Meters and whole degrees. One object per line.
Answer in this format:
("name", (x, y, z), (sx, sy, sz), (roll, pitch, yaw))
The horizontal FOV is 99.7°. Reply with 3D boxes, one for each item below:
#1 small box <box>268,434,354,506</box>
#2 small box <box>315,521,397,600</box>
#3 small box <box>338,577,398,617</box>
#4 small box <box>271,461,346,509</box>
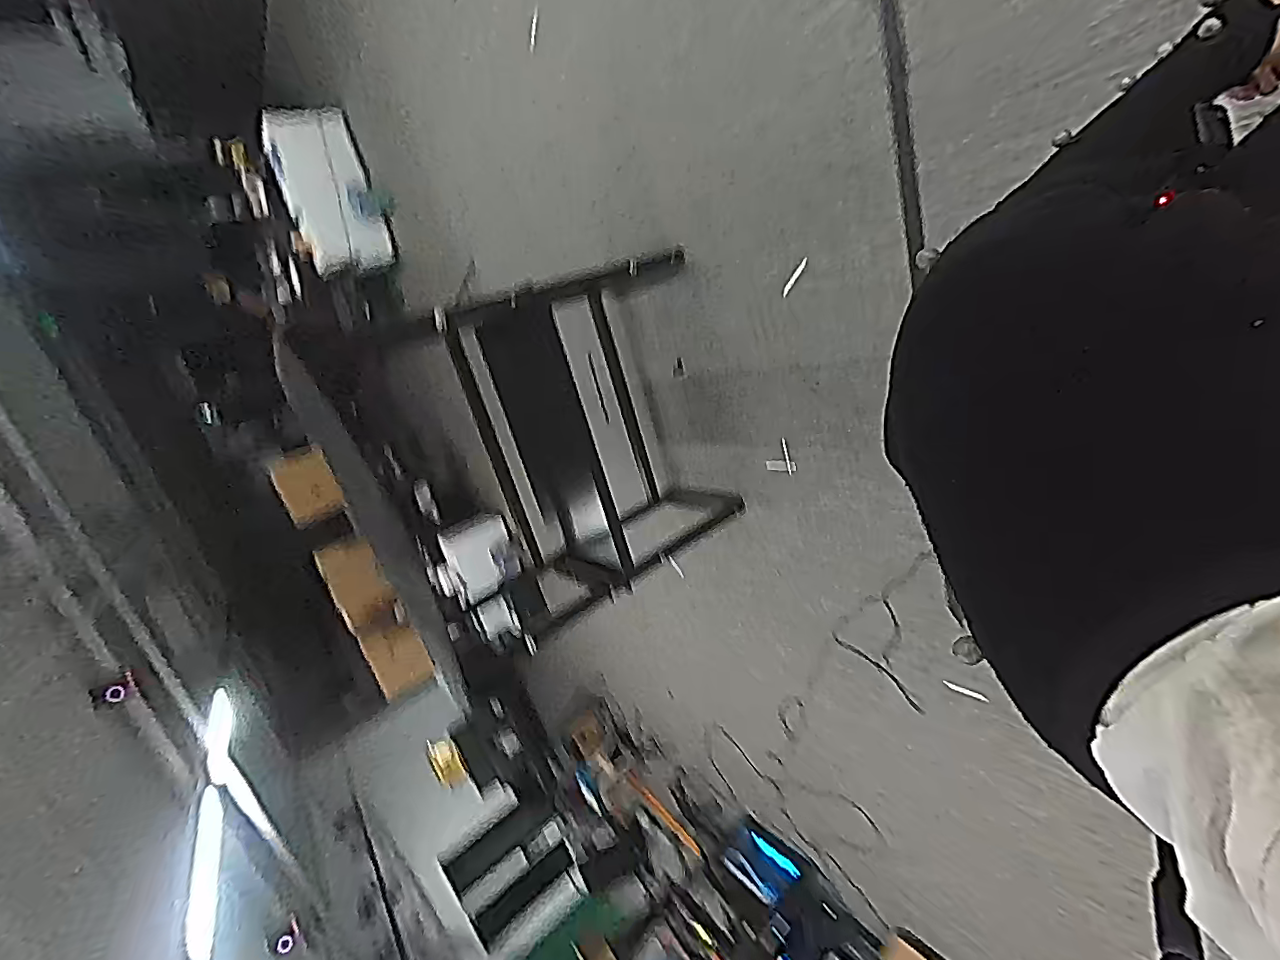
("small box", (-0.989, -0.037, 1.631), (0.179, 0.176, 0.168), (6, 118, 55))
("small box", (-0.901, 0.247, 1.718), (0.168, 0.176, 0.179), (8, 119, 55))
("small box", (-1.014, 0.376, 1.985), (0.179, 0.176, 0.168), (-2, 113, 56))
("small box", (-1.145, -0.021, 1.873), (0.168, 0.176, 0.179), (8, 120, 53))
